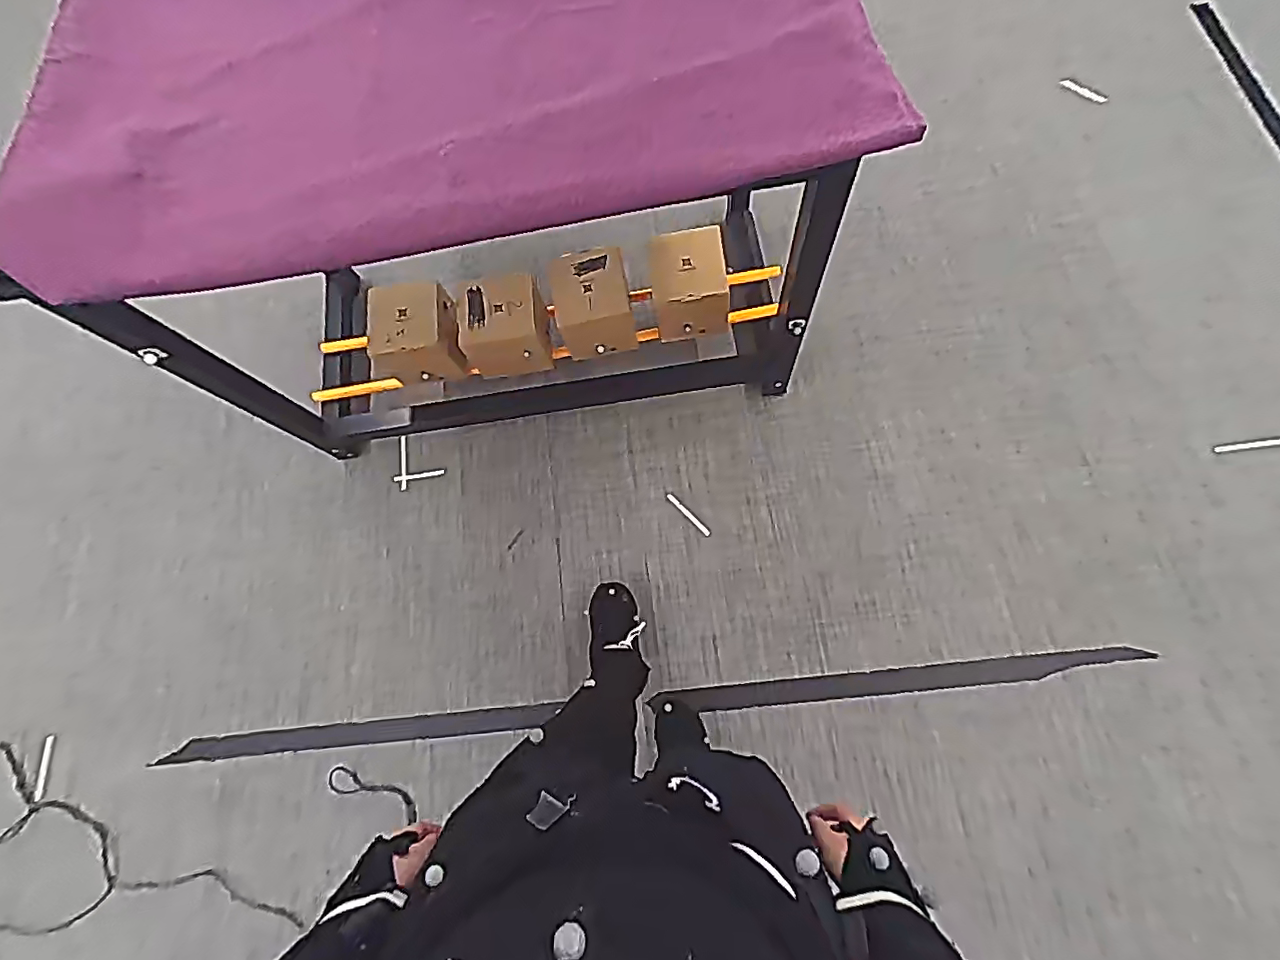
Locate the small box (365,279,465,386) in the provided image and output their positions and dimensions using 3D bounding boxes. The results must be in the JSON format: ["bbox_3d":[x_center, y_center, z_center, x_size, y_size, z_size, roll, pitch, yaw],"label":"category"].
[{"bbox_3d":[-0.529,-0.346,1.291,0.168,0.176,0.179,-8,75,4],"label":"small box"}]

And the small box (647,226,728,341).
[{"bbox_3d":[0.109,-0.449,1.253,0.168,0.176,0.179,-7,74,5],"label":"small box"}]

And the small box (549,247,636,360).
[{"bbox_3d":[-0.107,-0.407,1.267,0.168,0.176,0.179,-10,75,4],"label":"small box"}]
